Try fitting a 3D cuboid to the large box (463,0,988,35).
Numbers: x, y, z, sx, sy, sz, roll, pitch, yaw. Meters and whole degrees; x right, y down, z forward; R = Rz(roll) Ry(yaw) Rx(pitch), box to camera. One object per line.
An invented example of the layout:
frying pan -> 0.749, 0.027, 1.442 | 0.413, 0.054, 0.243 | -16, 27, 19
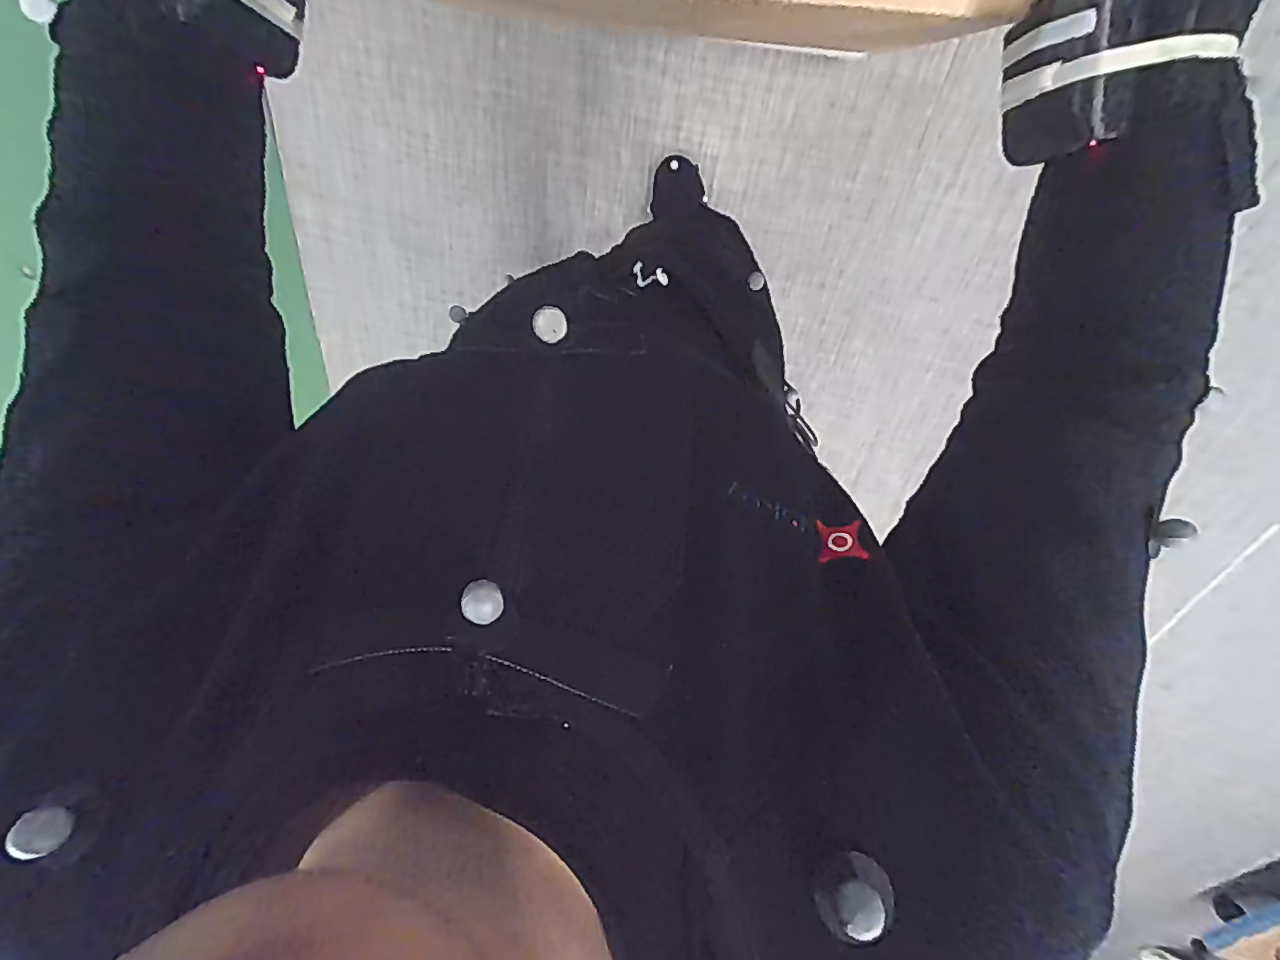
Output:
large box -> 0.037, -0.481, 0.318 | 0.408, 0.320, 0.320 | 7, 128, 3
